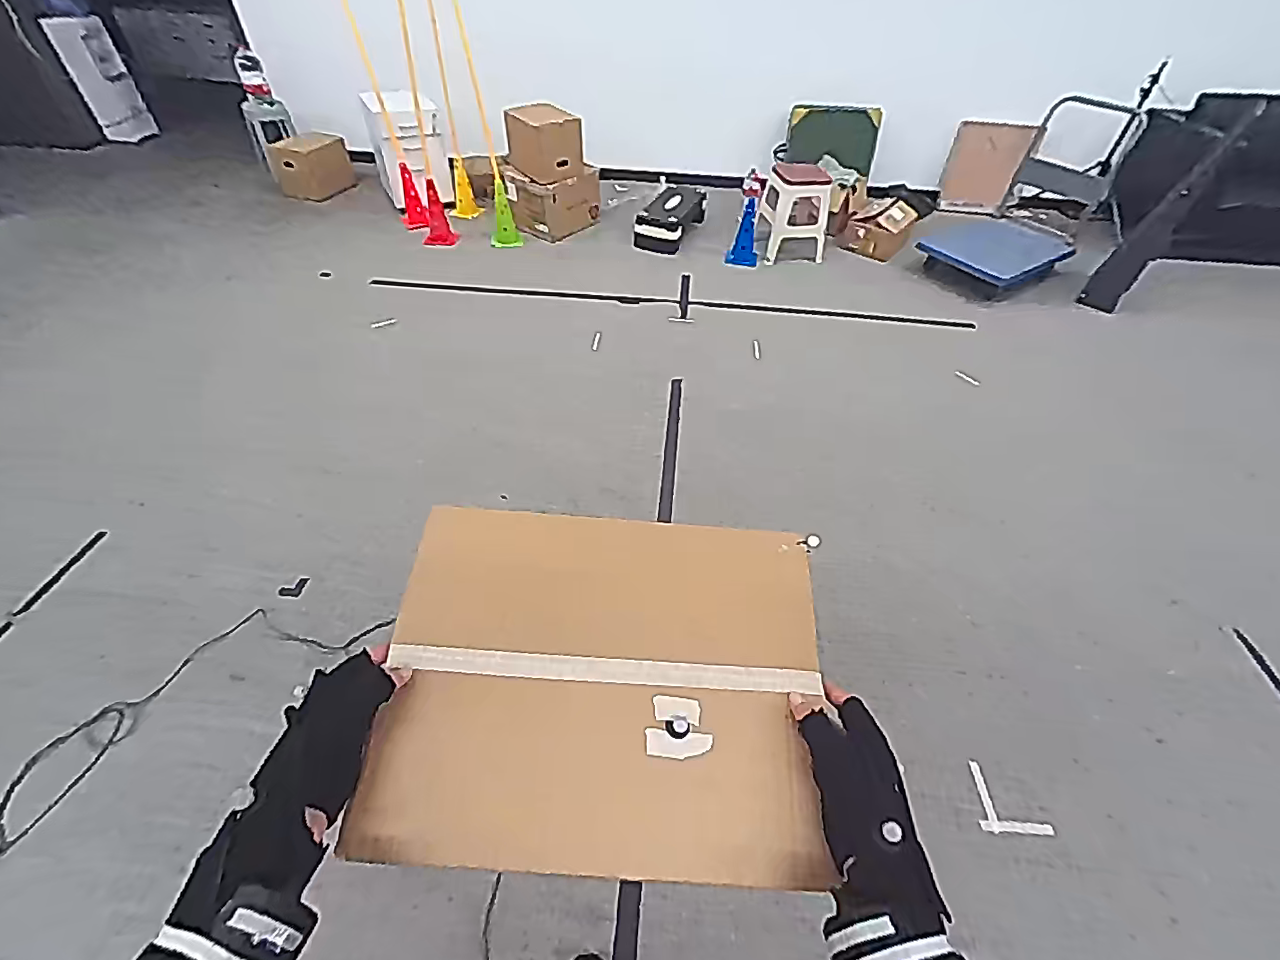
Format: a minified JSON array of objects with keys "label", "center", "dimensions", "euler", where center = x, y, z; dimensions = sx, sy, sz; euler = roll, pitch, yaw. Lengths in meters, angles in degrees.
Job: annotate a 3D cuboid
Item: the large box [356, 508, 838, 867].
[{"label":"large box","center":[-0.038,0.250,0.642],"dimensions":[0.408,0.320,0.320],"euler":[5,60,-2]}]
